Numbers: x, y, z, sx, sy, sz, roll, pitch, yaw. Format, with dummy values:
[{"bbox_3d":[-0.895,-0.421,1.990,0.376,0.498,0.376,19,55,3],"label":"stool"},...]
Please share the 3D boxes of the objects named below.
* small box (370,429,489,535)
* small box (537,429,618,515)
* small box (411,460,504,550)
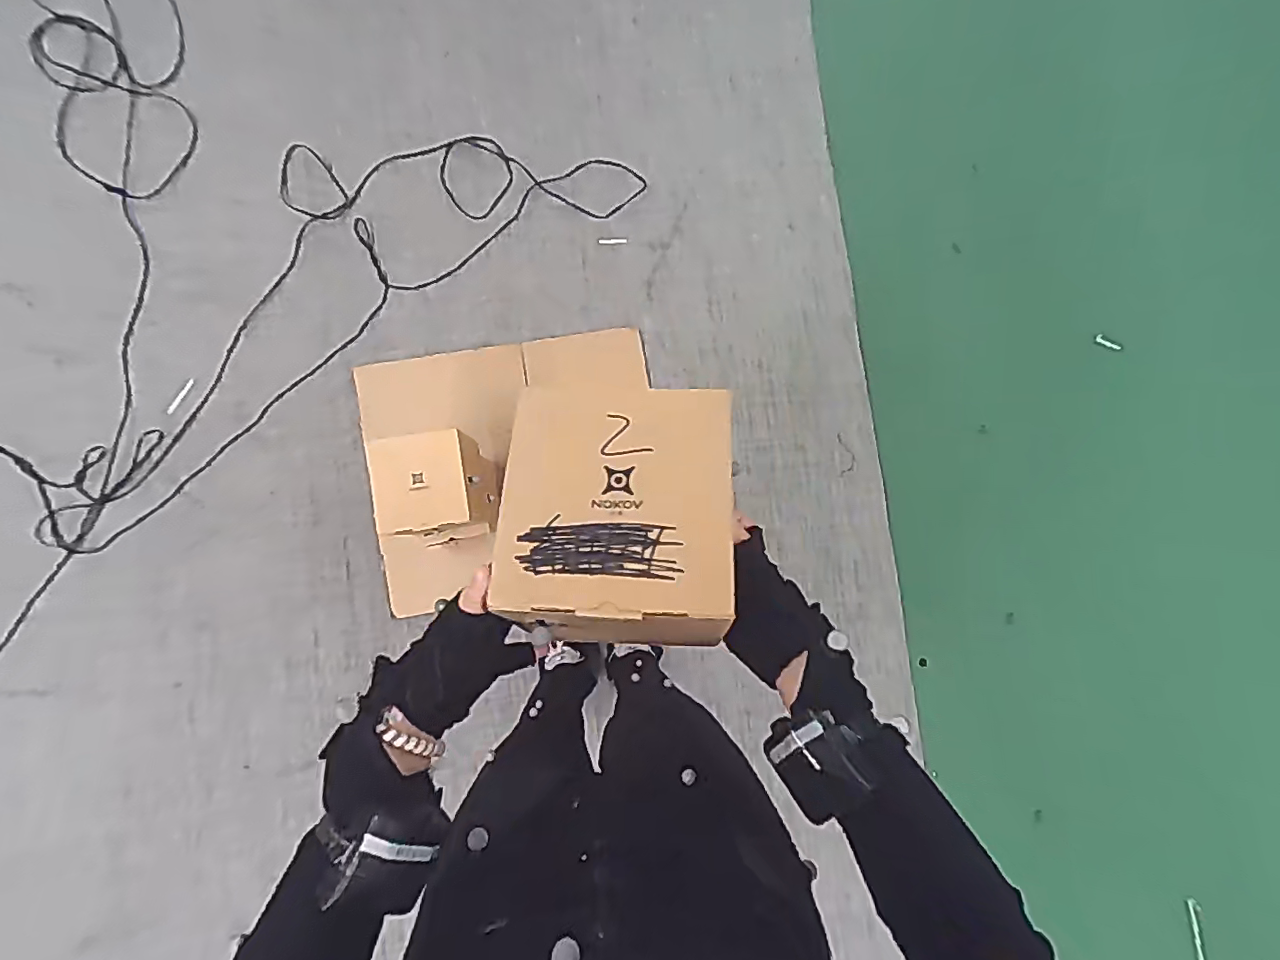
[{"bbox_3d":[-0.400,0.009,1.050,0.168,0.176,0.179,-9,87,-5],"label":"small box"},{"bbox_3d":[-0.140,-0.013,1.237,0.168,0.176,0.179,-5,87,-4],"label":"small box"},{"bbox_3d":[-0.412,0.049,1.211,0.168,0.176,0.179,-12,87,-5],"label":"small box"}]
